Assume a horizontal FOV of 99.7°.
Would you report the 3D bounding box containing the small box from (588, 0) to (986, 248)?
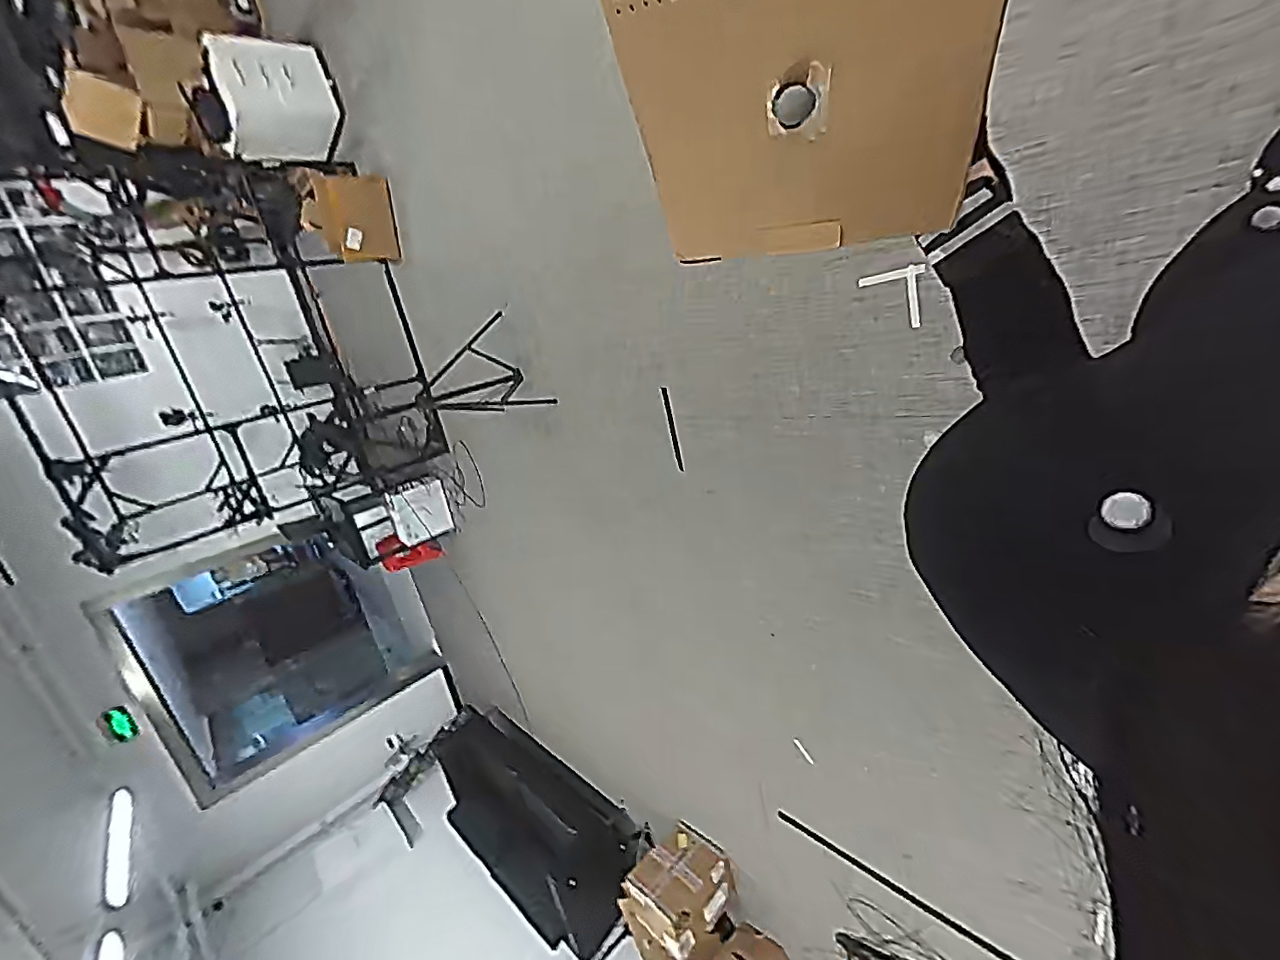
[{"bbox_3d":[0.080,-0.258,0.284,0.168,0.179,0.176,3,153,21],"label":"small box"}]
